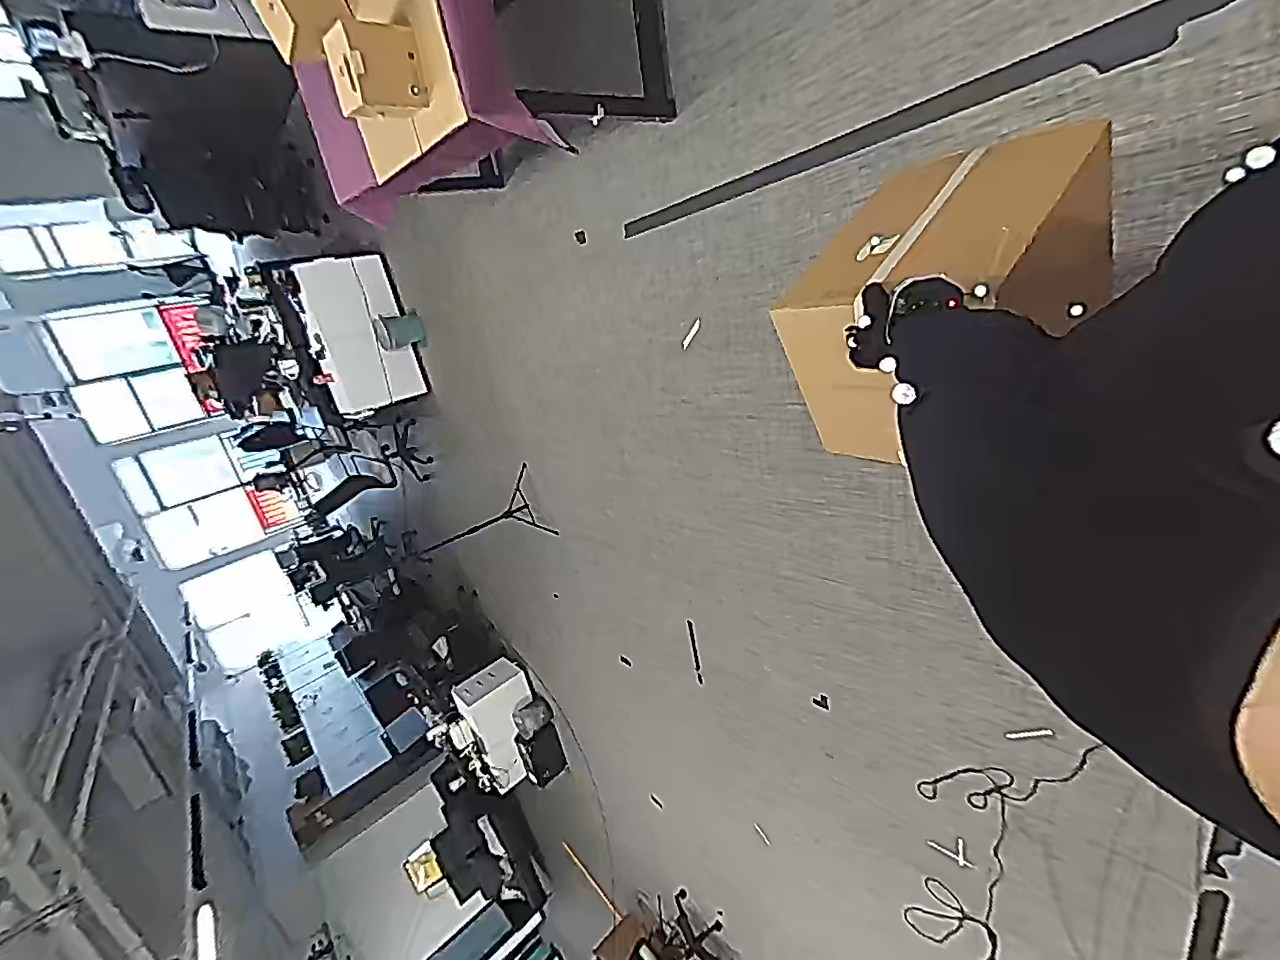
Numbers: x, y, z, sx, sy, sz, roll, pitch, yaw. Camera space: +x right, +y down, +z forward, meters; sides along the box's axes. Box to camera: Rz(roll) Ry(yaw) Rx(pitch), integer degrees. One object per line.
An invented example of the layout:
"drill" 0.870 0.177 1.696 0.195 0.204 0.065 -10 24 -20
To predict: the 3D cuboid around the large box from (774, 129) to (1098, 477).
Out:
"large box" 0.492 -0.269 0.874 0.320 0.408 0.320 15 149 51
